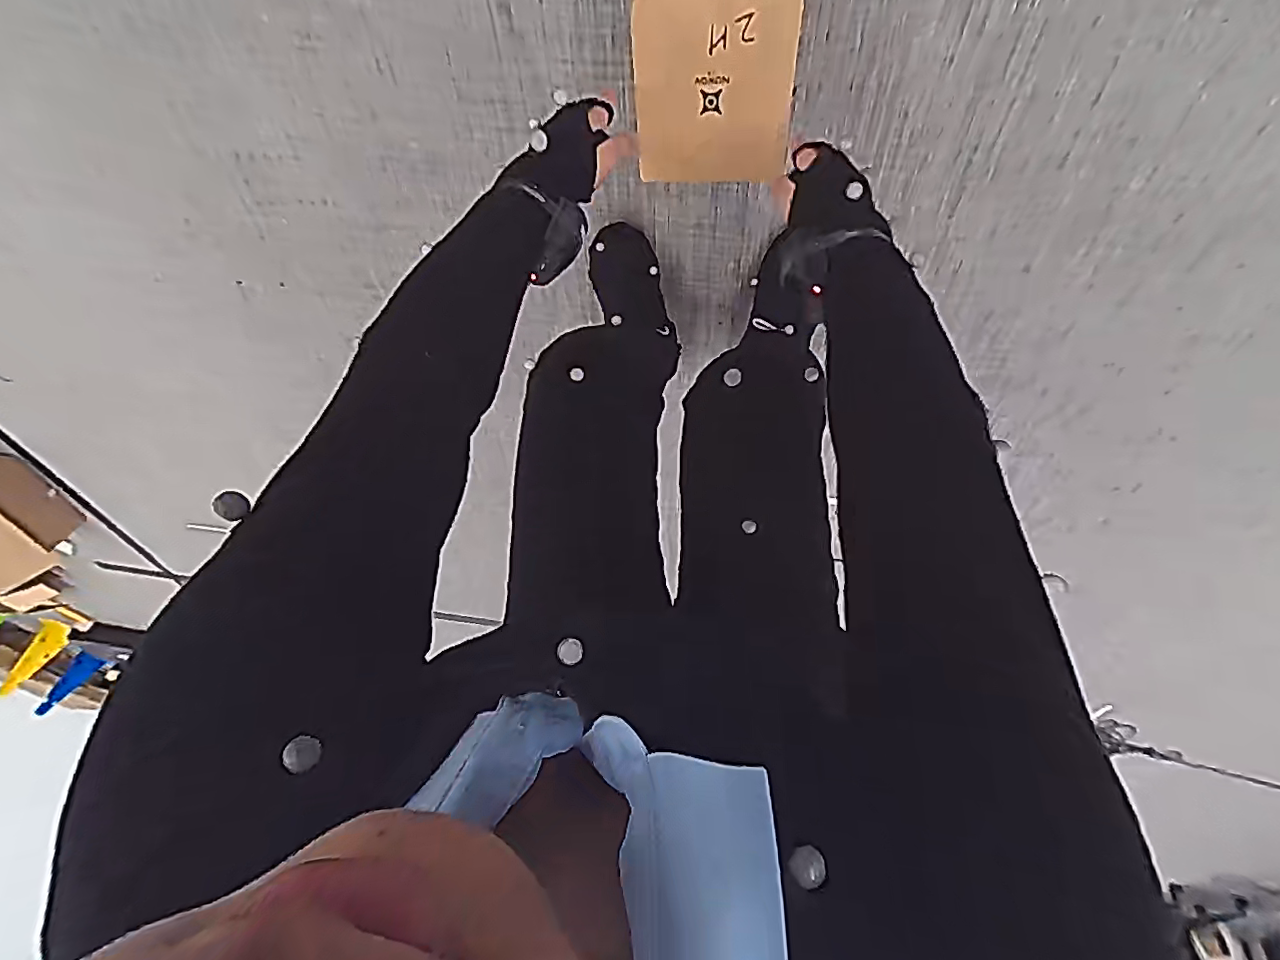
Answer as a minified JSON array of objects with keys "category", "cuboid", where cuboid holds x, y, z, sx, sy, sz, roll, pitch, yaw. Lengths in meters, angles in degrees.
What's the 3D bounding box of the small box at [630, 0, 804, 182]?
[{"category":"small box","cuboid":[0.088,-0.460,0.609,0.168,0.176,0.179,4,137,9]}]
